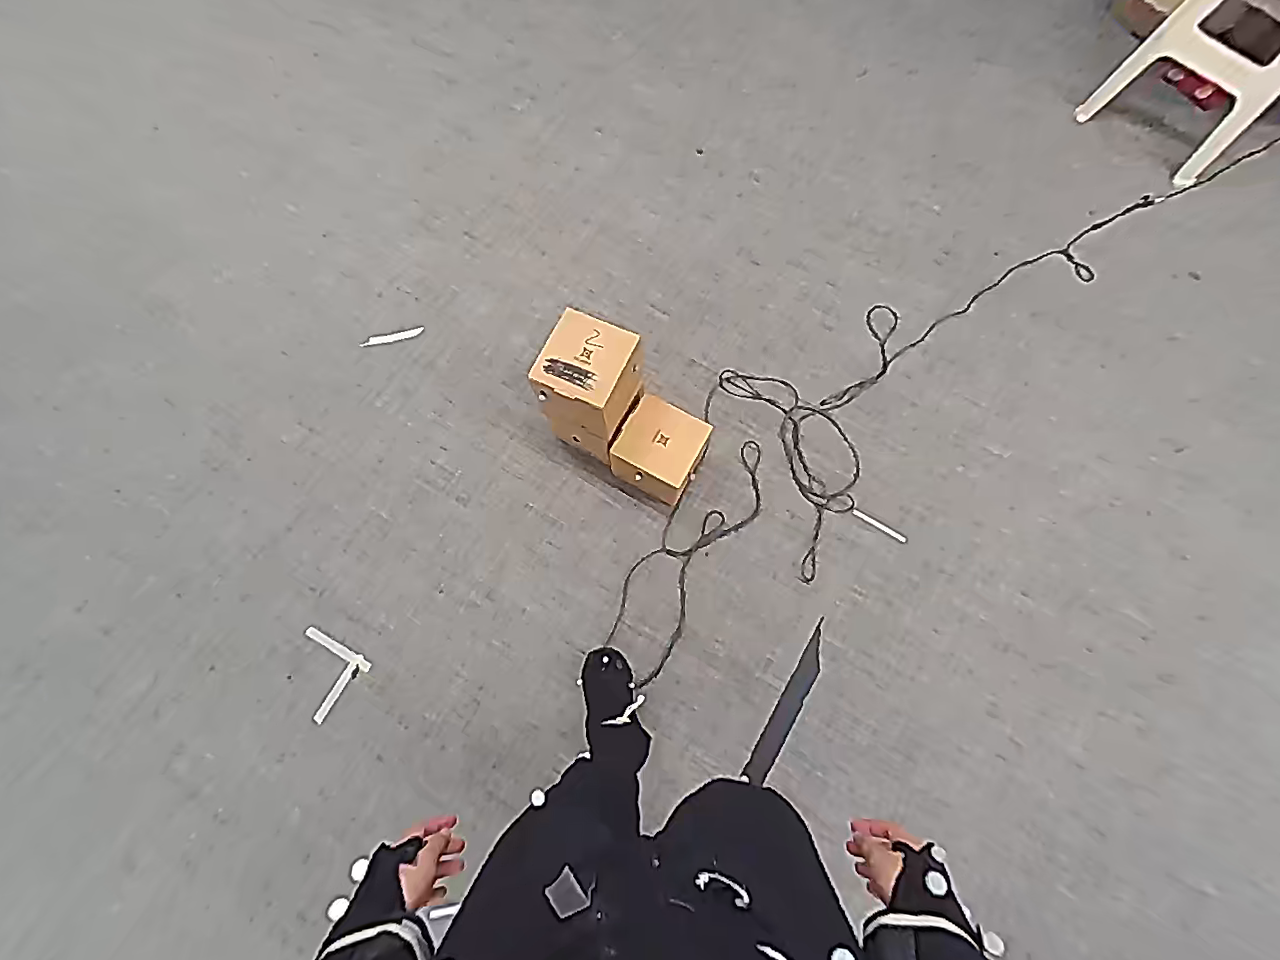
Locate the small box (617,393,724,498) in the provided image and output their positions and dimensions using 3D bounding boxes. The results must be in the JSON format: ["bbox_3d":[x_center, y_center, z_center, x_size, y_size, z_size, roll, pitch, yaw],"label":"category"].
[{"bbox_3d":[0.062,-0.073,1.184,0.179,0.176,0.168,-34,90,2],"label":"small box"}]
